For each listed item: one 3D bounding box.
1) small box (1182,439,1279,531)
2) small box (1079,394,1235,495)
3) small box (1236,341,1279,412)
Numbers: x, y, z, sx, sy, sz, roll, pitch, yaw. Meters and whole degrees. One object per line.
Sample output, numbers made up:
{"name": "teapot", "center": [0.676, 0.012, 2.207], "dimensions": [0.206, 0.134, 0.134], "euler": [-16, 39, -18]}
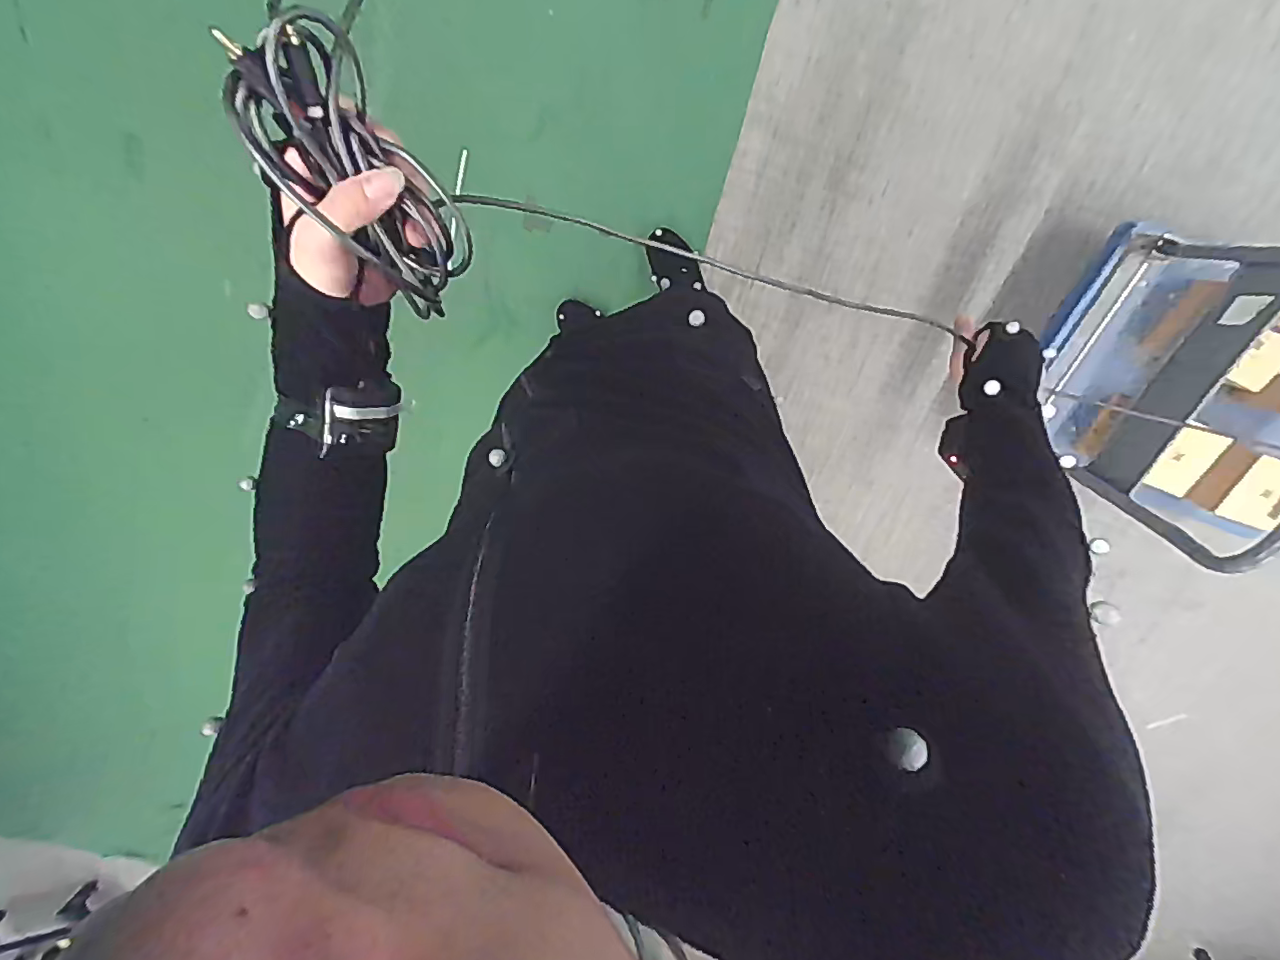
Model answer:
{"name": "small box", "center": [1.496, -0.003, 1.350], "dimensions": [0.179, 0.176, 0.168], "euler": [17, 114, -4]}
{"name": "small box", "center": [1.249, -0.093, 1.323], "dimensions": [0.179, 0.176, 0.168], "euler": [19, 114, -6]}
{"name": "small box", "center": [1.569, -0.224, 1.244], "dimensions": [0.179, 0.176, 0.168], "euler": [15, 115, -4]}
